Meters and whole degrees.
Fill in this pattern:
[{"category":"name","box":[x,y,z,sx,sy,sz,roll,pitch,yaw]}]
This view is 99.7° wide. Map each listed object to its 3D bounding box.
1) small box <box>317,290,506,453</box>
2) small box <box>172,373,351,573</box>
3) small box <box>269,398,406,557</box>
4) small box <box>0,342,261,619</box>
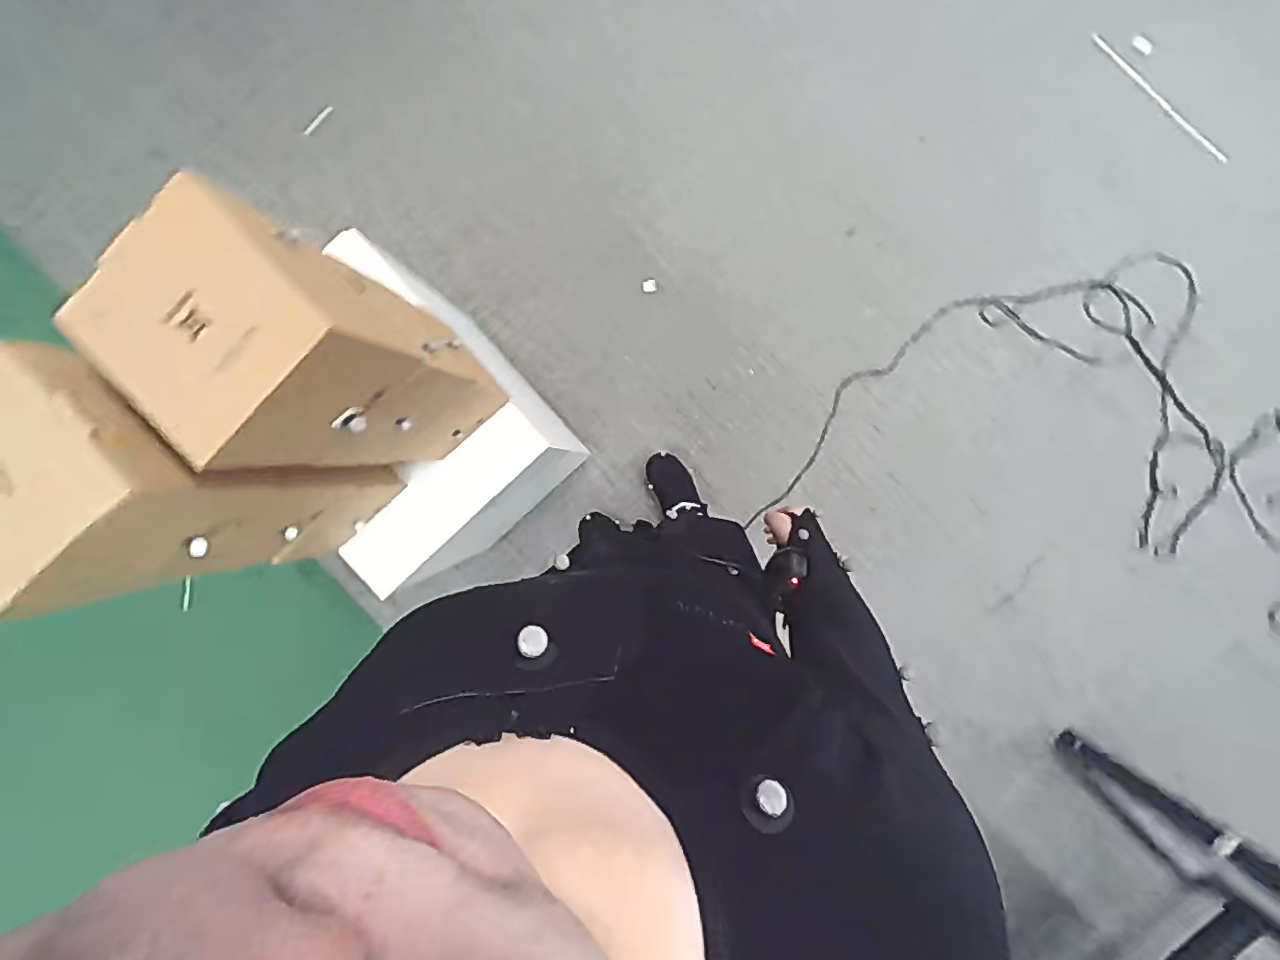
[{"category":"small box","box":[-0.342,-0.154,0.843,0.168,0.176,0.179,-40,90,4]},{"category":"small box","box":[-0.523,-0.006,0.691,0.168,0.176,0.179,-41,89,2]},{"category":"small box","box":[-0.516,-0.003,0.855,0.168,0.176,0.179,-42,90,2]},{"category":"small box","box":[-0.520,-0.001,0.527,0.179,0.176,0.168,-41,89,1]}]
